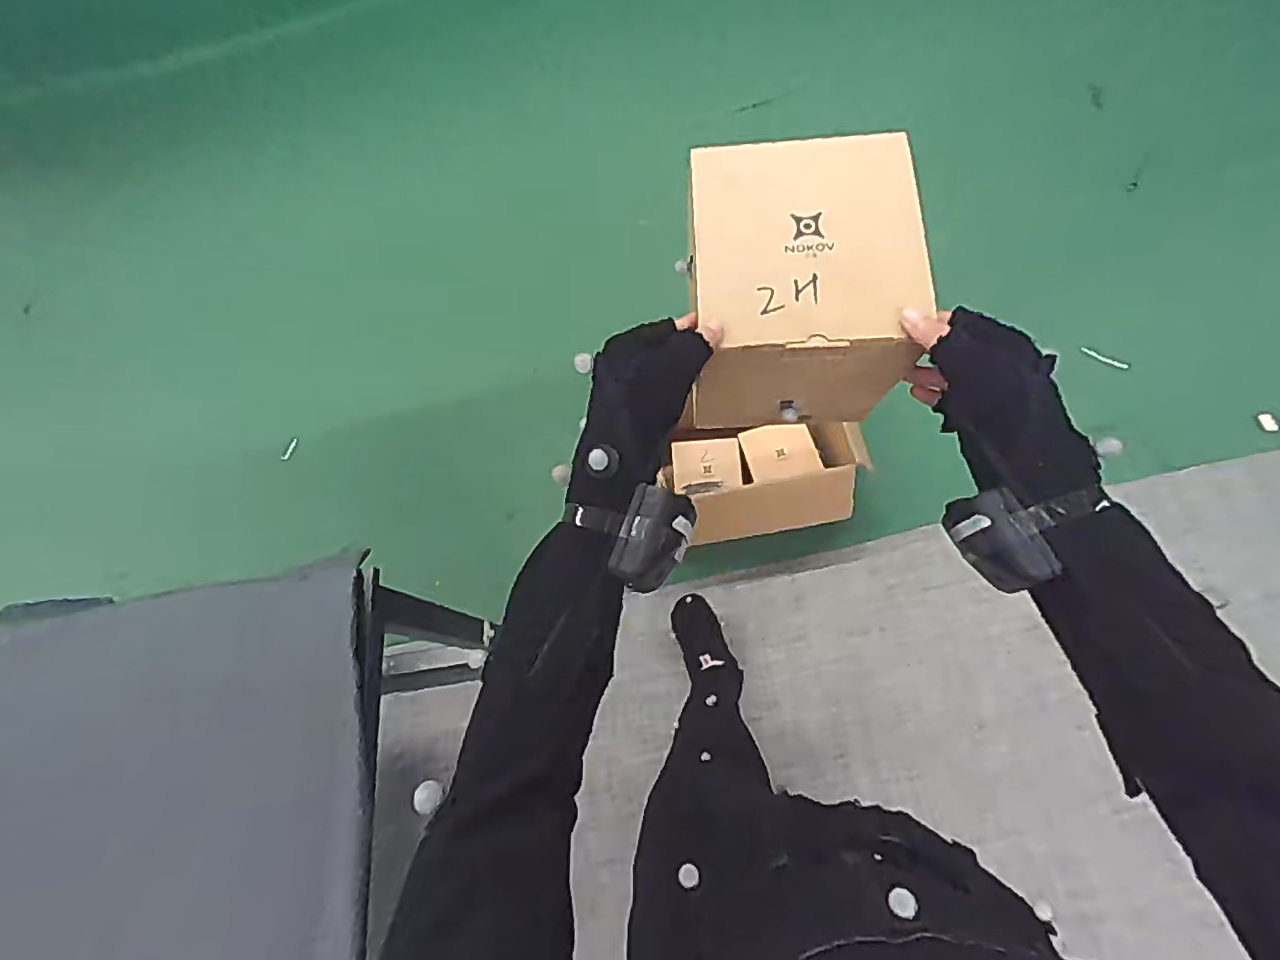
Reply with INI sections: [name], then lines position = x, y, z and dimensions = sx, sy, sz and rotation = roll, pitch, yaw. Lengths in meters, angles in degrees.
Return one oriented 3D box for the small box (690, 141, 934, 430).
[small box]
position = 0.129, -0.156, 0.478
dimensions = 0.168, 0.176, 0.179
rotation = -2, 75, 5
